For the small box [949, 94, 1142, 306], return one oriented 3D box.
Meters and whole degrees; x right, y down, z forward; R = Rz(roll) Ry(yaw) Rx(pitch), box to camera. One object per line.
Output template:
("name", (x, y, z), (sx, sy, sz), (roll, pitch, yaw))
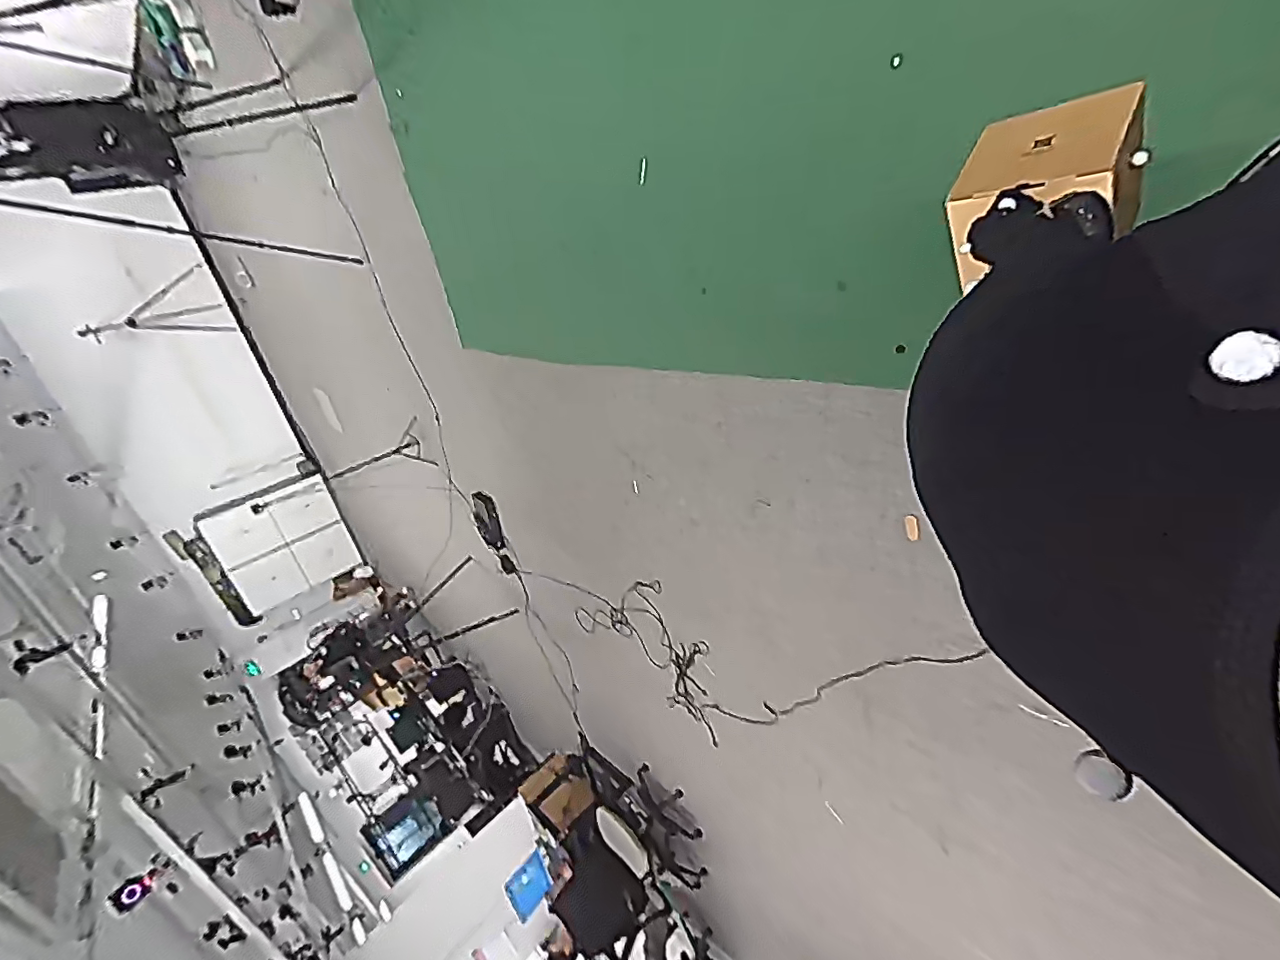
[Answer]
("small box", (0.540, -0.360, 0.724), (0.168, 0.179, 0.176), (12, 152, 45))
